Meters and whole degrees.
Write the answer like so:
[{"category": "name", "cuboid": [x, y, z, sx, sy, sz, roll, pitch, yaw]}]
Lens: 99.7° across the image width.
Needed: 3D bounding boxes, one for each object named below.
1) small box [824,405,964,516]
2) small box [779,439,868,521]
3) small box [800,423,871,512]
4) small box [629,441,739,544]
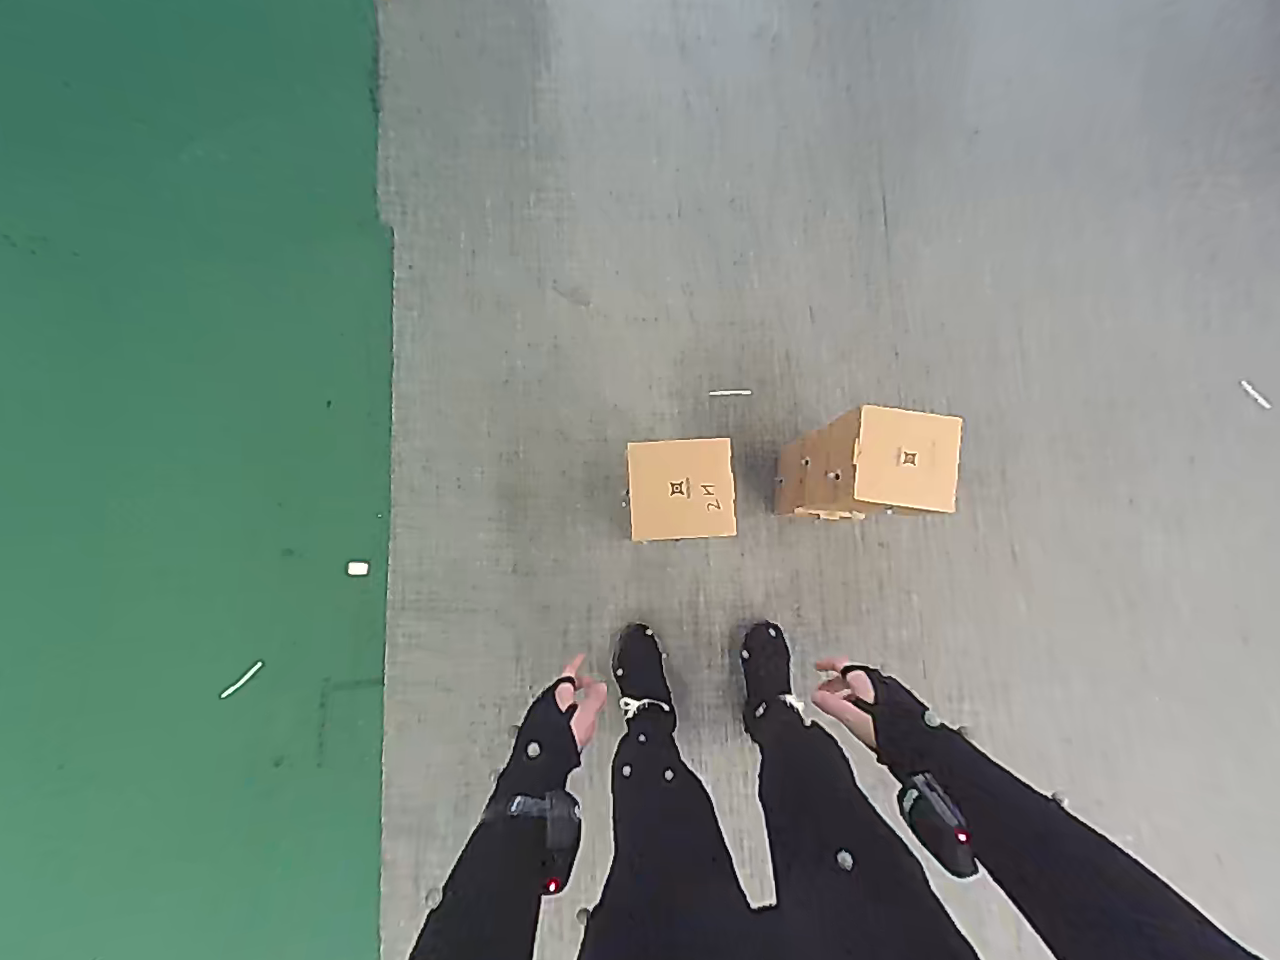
[{"category": "small box", "cuboid": [0.452, -0.027, 0.986, 0.179, 0.176, 0.168, 8, 85, 0]}, {"category": "small box", "cuboid": [0.443, 0.005, 1.309, 0.168, 0.176, 0.179, 5, 85, -1]}, {"category": "small box", "cuboid": [0.455, -0.020, 1.149, 0.179, 0.176, 0.168, 3, 84, 0]}, {"category": "small box", "cuboid": [0.072, 0.028, 0.972, 0.179, 0.176, 0.168, -3, 84, -2]}]
